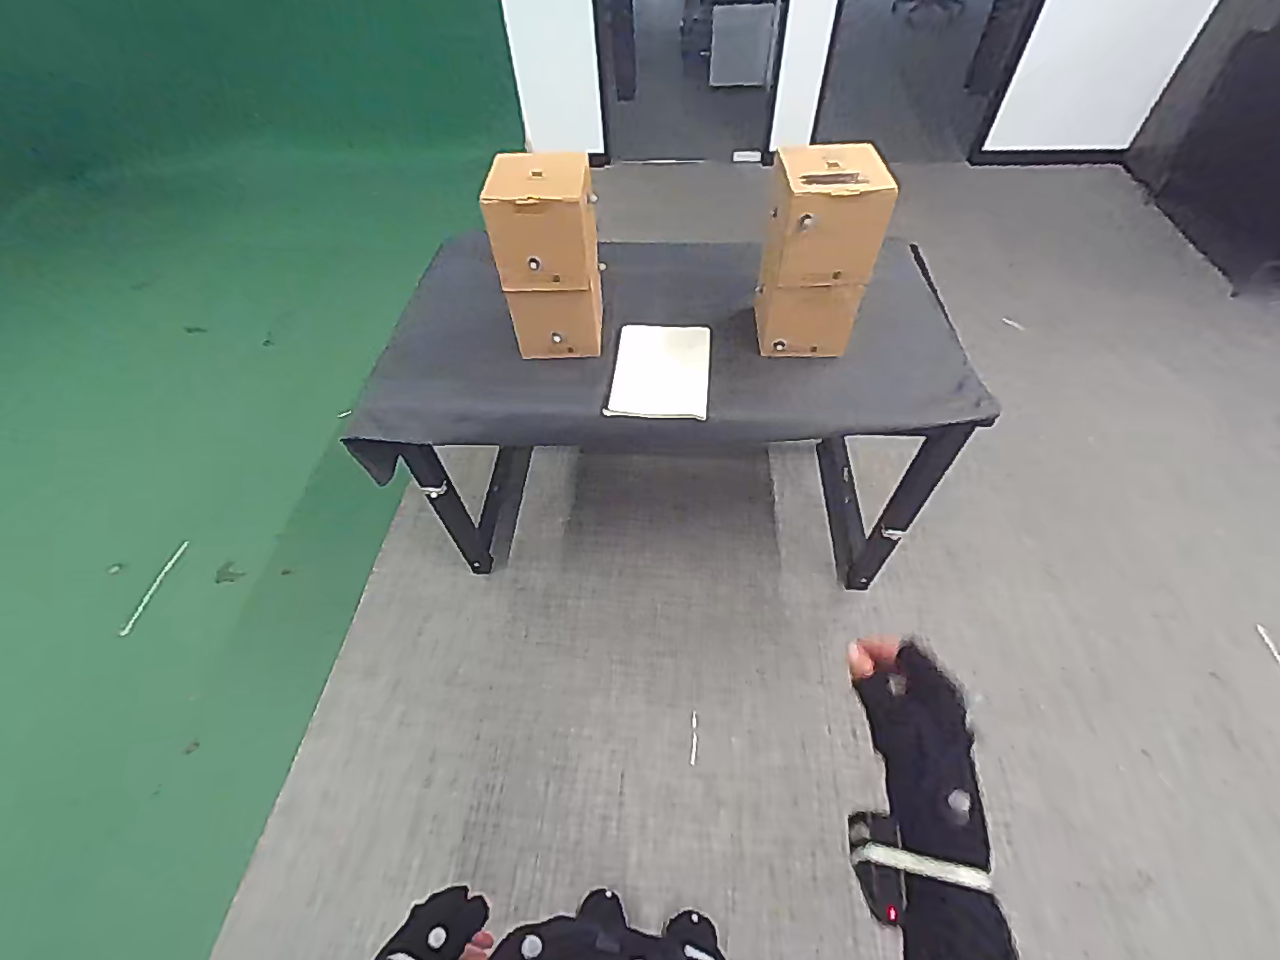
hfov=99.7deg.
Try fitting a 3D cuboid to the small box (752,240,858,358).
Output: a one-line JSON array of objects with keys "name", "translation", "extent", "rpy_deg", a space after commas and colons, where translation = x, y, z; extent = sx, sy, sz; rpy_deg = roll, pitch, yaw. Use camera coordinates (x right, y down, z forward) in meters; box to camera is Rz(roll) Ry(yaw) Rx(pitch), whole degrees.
[{"name": "small box", "translation": [0.325, -0.364, 1.099], "extent": [0.168, 0.176, 0.179], "rpy_deg": [1, 51, 3]}]

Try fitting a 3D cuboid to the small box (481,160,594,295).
[{"name": "small box", "translation": [-0.174, -0.458, 0.984], "extent": [0.168, 0.176, 0.179], "rpy_deg": [-1, 52, 1]}]

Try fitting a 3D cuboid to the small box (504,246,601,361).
[{"name": "small box", "translation": [-0.171, -0.366, 1.117], "extent": [0.168, 0.176, 0.179], "rpy_deg": [-2, 52, 1]}]
